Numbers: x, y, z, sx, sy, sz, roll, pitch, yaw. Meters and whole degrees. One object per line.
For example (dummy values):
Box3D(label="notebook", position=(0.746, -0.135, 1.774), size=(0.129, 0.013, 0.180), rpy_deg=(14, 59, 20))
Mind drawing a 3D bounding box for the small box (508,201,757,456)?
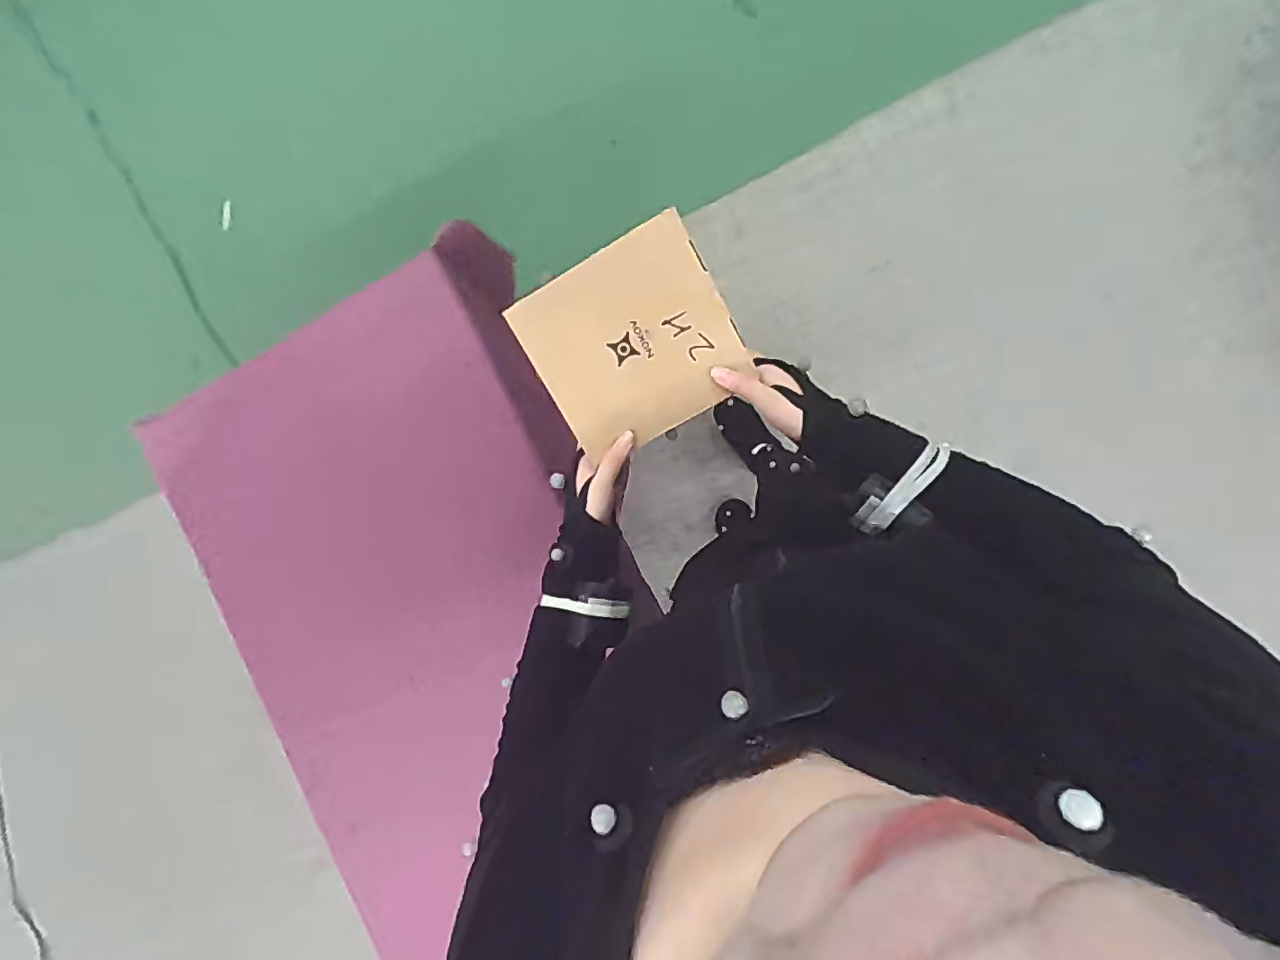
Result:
Box3D(label="small box", position=(-0.001, -0.146, 0.557), size=(0.179, 0.176, 0.168), rpy_deg=(-27, 101, 10))
